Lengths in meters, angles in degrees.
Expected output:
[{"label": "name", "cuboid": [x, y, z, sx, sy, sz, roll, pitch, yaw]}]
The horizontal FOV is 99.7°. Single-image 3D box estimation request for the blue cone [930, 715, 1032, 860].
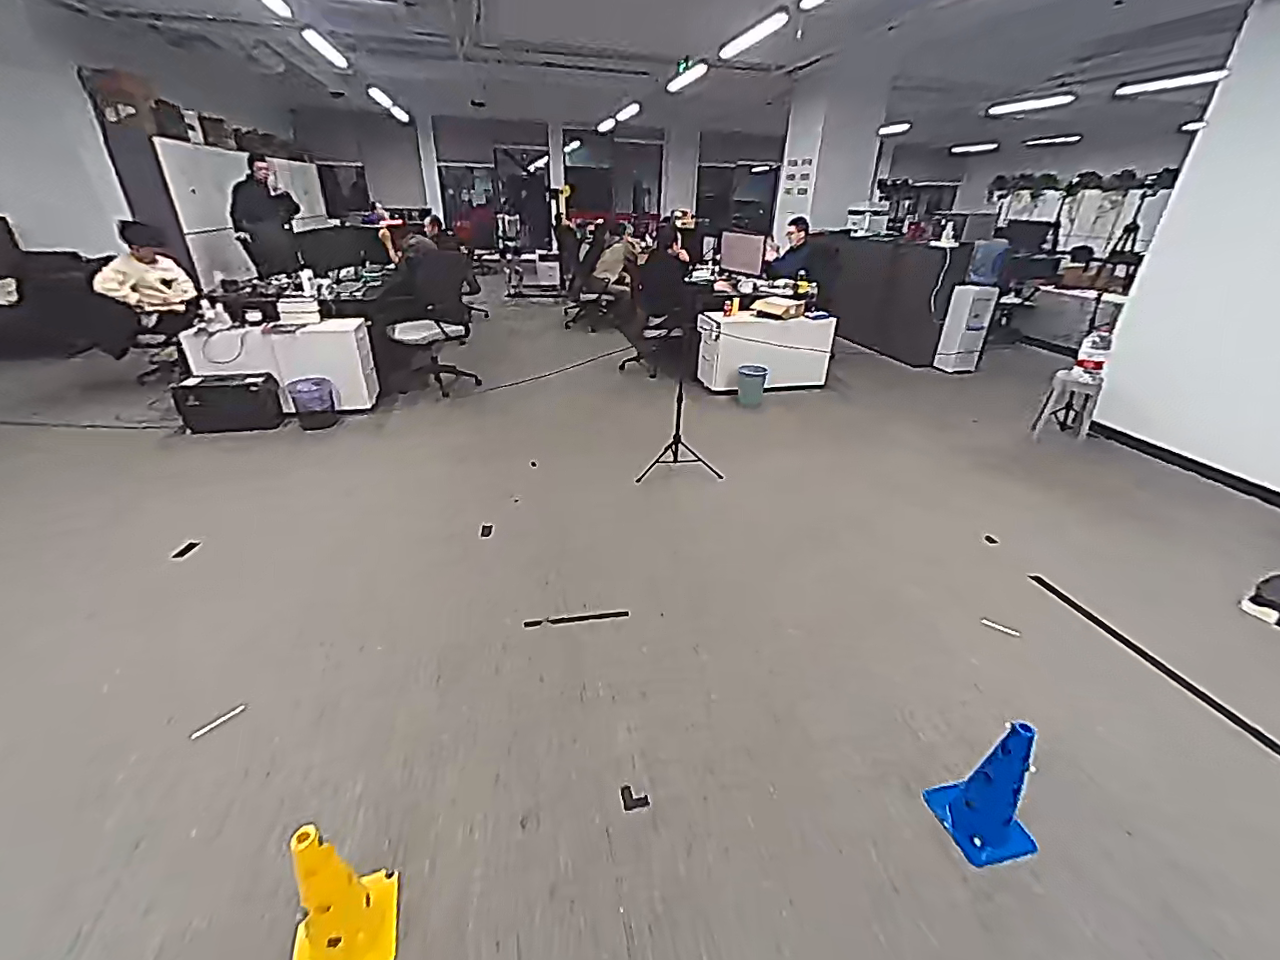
[{"label": "blue cone", "cuboid": [0.888, 0.733, 1.333, 0.193, 0.380, 0.192, -4, 27, -11]}]
